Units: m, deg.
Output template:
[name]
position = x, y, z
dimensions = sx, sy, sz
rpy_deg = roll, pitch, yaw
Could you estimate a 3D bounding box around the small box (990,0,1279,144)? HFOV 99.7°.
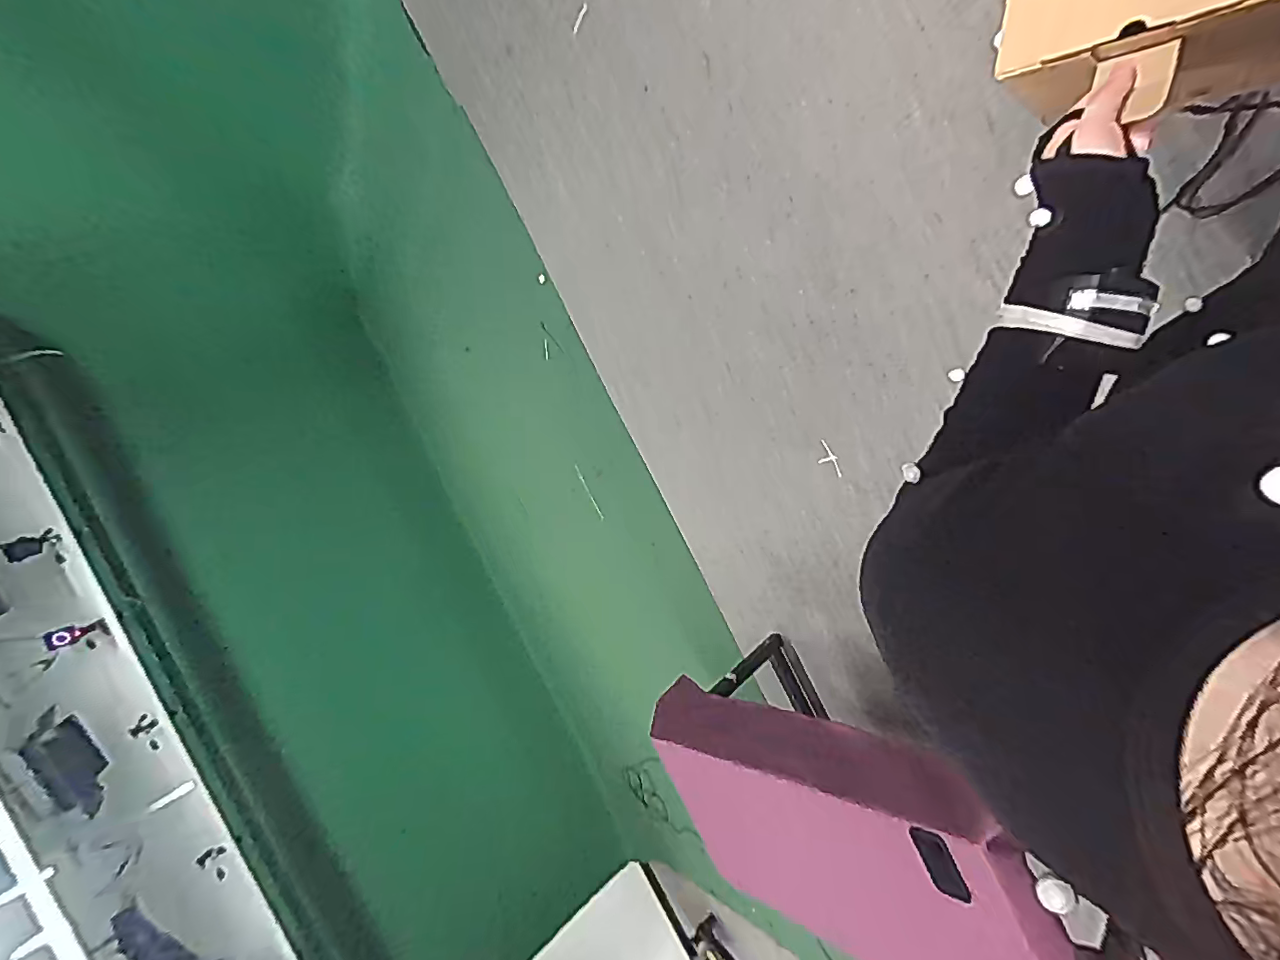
[small box]
position = 0.402, -0.391, 0.413
dimensions = 0.168, 0.176, 0.179
rpy_deg = 18, 111, 47
